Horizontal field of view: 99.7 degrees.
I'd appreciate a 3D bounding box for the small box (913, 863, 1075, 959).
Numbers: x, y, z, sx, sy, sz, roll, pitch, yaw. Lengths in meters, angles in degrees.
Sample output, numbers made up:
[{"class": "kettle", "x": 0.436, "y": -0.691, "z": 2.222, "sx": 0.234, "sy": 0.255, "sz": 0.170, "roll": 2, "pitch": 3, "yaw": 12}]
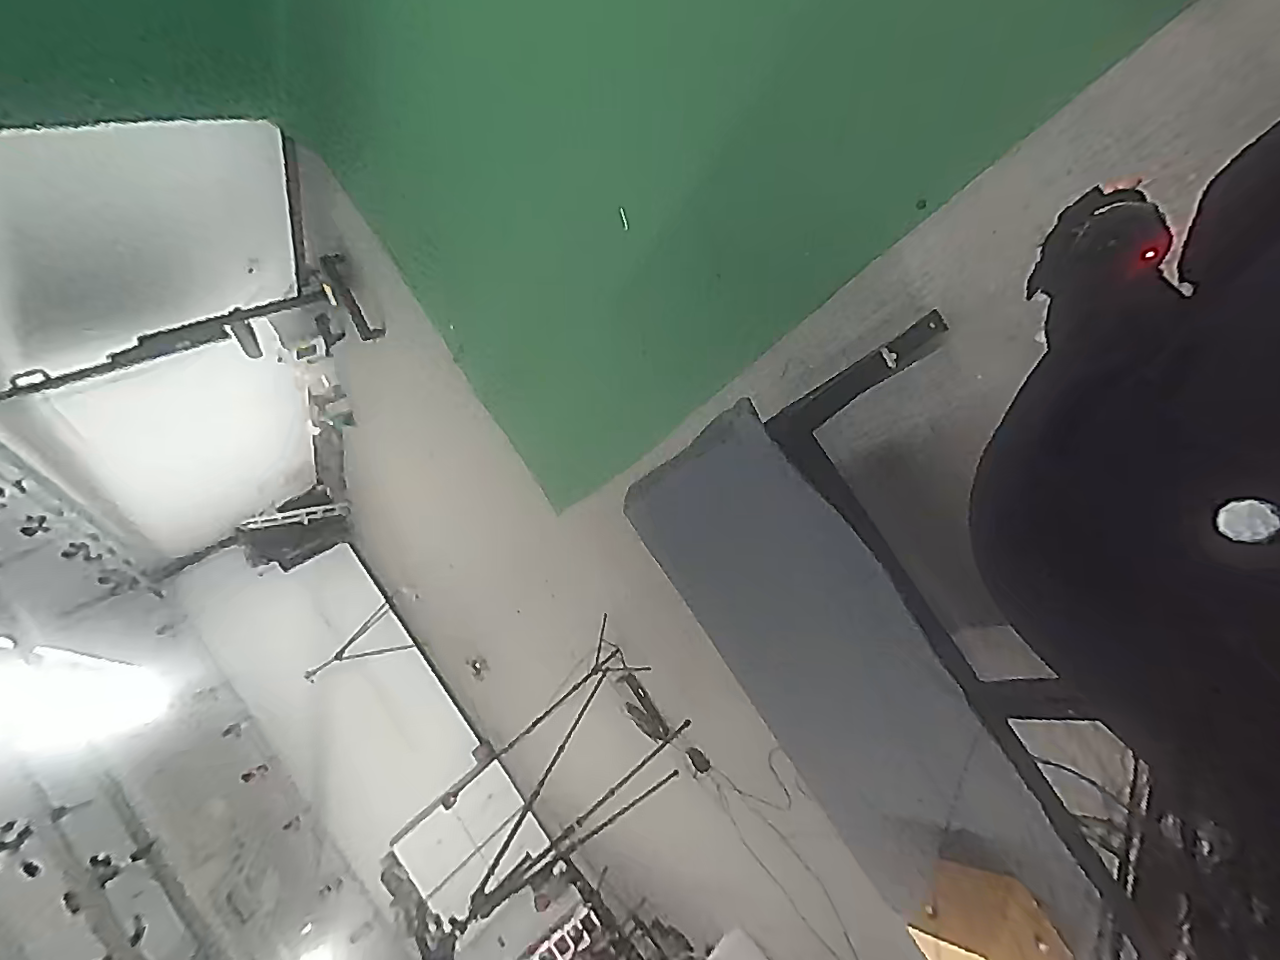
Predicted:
[{"class": "small box", "x": 0.676, "y": 0.882, "z": 1.034, "sx": 0.168, "sy": 0.176, "sz": 0.179, "roll": 55, "pitch": 147, "yaw": 4}]
